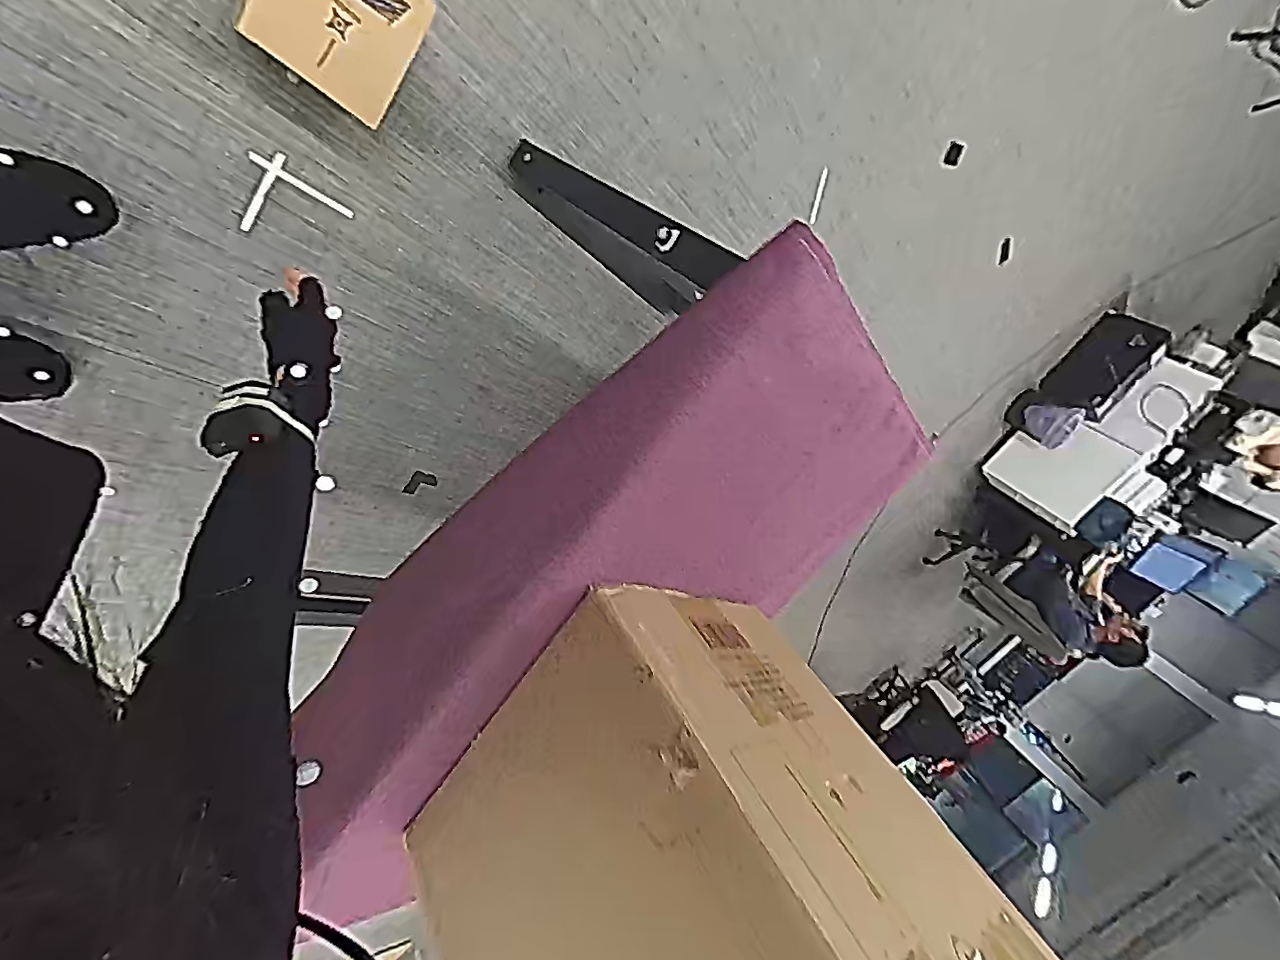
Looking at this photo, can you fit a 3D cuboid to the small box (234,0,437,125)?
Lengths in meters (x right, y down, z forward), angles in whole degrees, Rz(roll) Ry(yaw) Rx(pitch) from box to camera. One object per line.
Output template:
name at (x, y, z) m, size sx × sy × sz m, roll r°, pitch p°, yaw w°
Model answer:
small box at (-0.402, -0.616, 0.705) m, size 0.179 × 0.176 × 0.168 m, roll -51°, pitch 141°, yaw 14°
